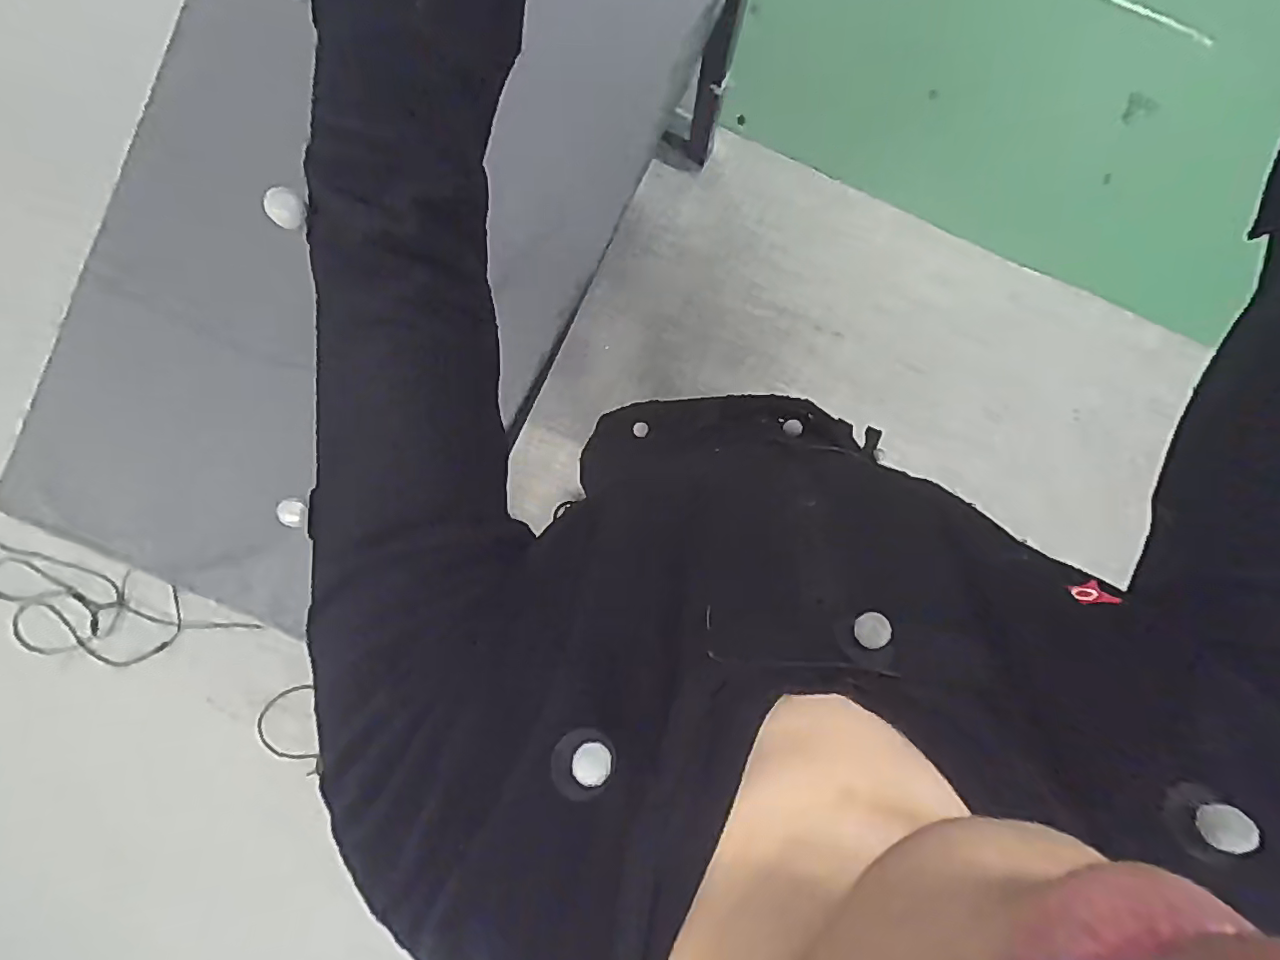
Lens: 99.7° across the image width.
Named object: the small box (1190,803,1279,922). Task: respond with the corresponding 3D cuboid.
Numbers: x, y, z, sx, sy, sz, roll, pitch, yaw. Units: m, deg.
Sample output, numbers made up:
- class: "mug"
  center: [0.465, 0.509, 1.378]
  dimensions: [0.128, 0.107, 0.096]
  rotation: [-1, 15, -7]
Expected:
- class: "small box"
  center: [1.464, 0.897, 1.260]
  dimensions: [0.179, 0.176, 0.168]
  rotation: [18, 97, 1]
